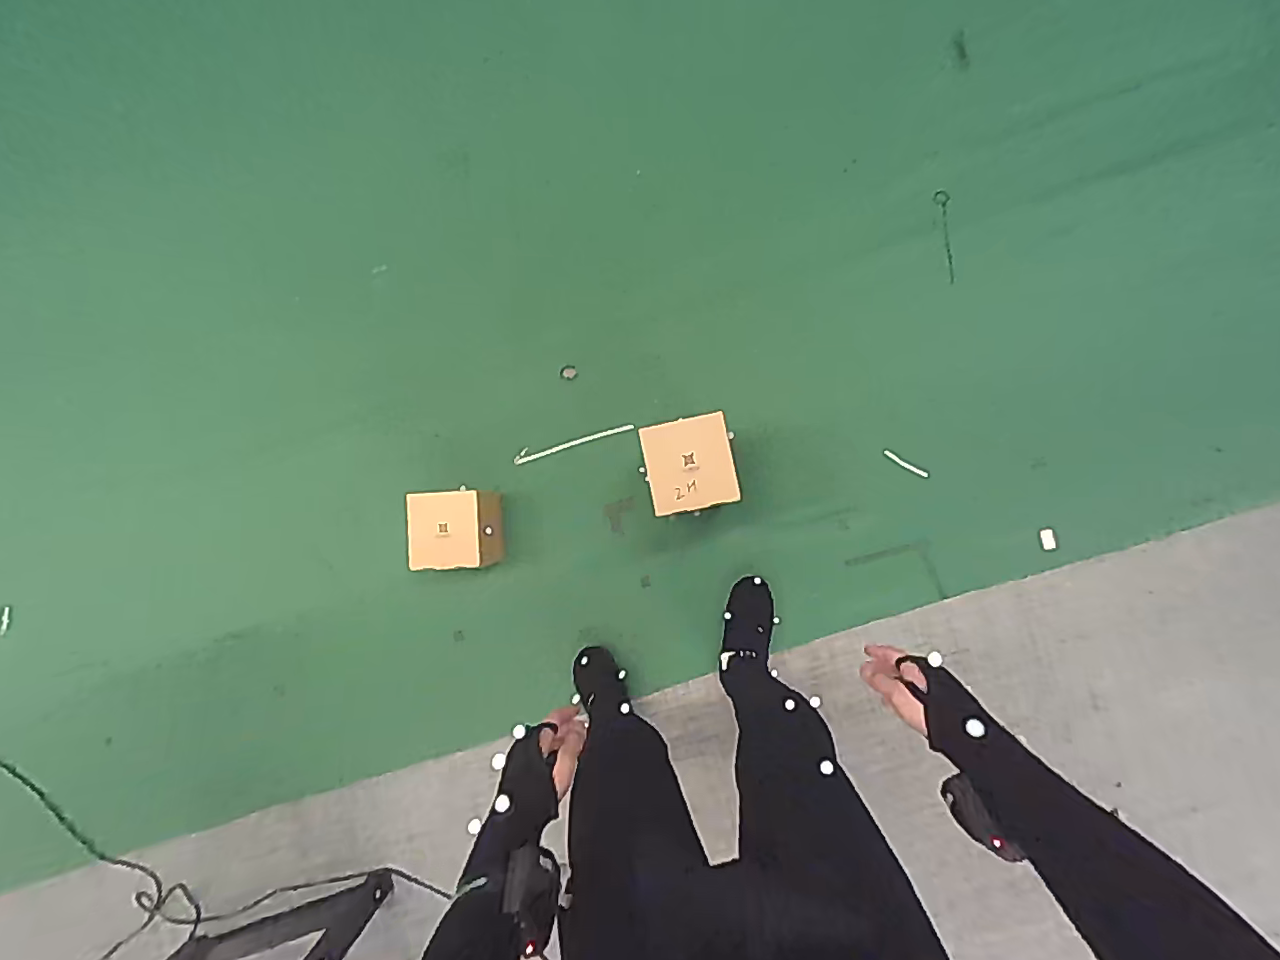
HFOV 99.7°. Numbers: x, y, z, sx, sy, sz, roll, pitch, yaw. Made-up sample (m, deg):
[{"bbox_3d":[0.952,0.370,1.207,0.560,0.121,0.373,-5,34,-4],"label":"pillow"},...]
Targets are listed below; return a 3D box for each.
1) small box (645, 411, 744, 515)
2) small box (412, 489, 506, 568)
[{"bbox_3d":[0.106,-0.028,1.100,0.168,0.176,0.179,-11,87,4],"label":"small box"},{"bbox_3d":[-0.429,0.113,1.301,0.168,0.176,0.179,-3,89,4],"label":"small box"}]
